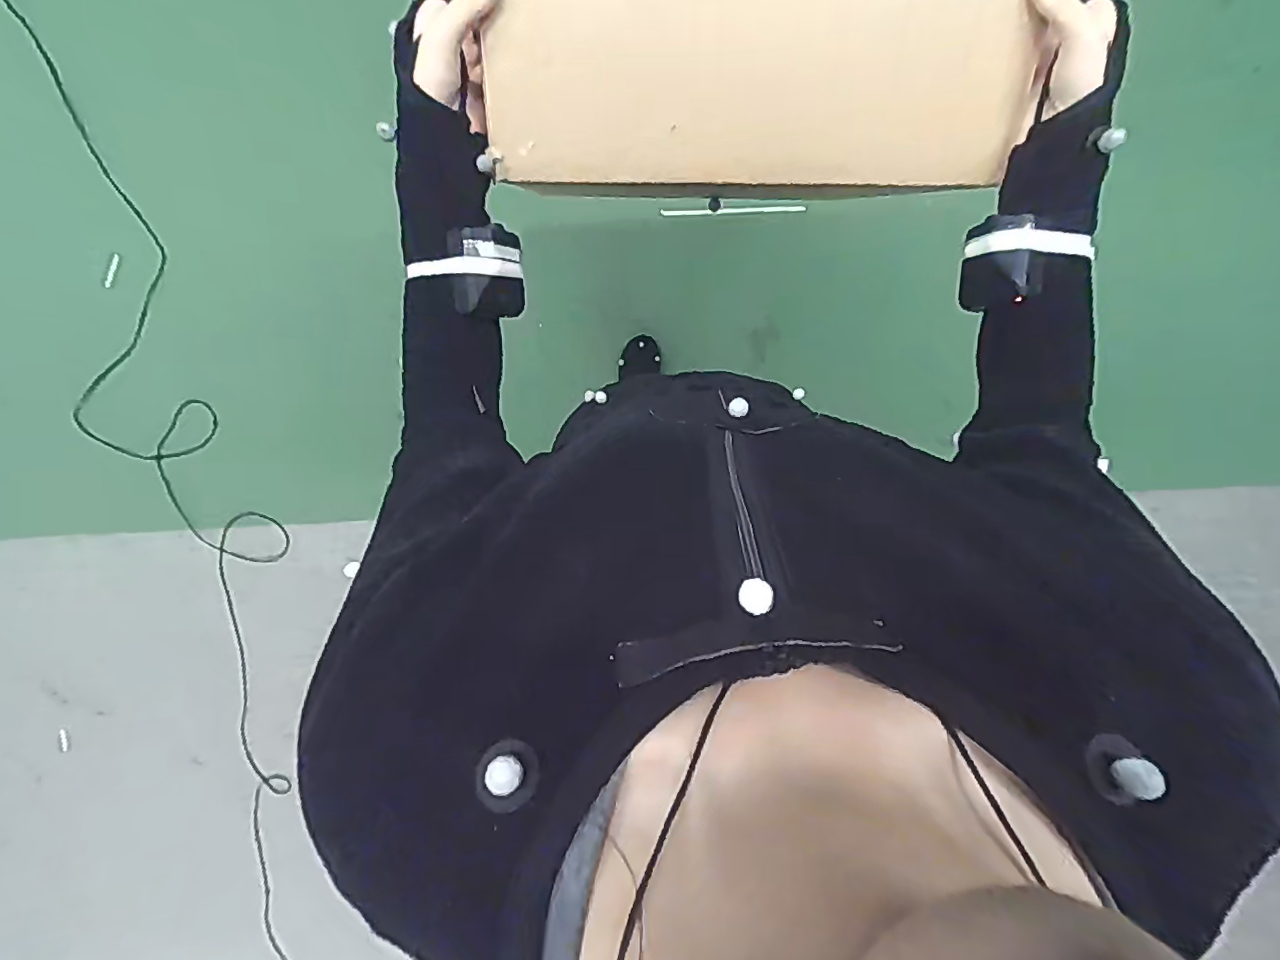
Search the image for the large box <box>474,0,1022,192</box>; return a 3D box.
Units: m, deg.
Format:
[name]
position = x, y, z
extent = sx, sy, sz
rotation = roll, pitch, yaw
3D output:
[large box]
position = 0.076, -0.445, 0.501
extent = 0.408, 0.320, 0.320
rotation = -1, 115, -2
